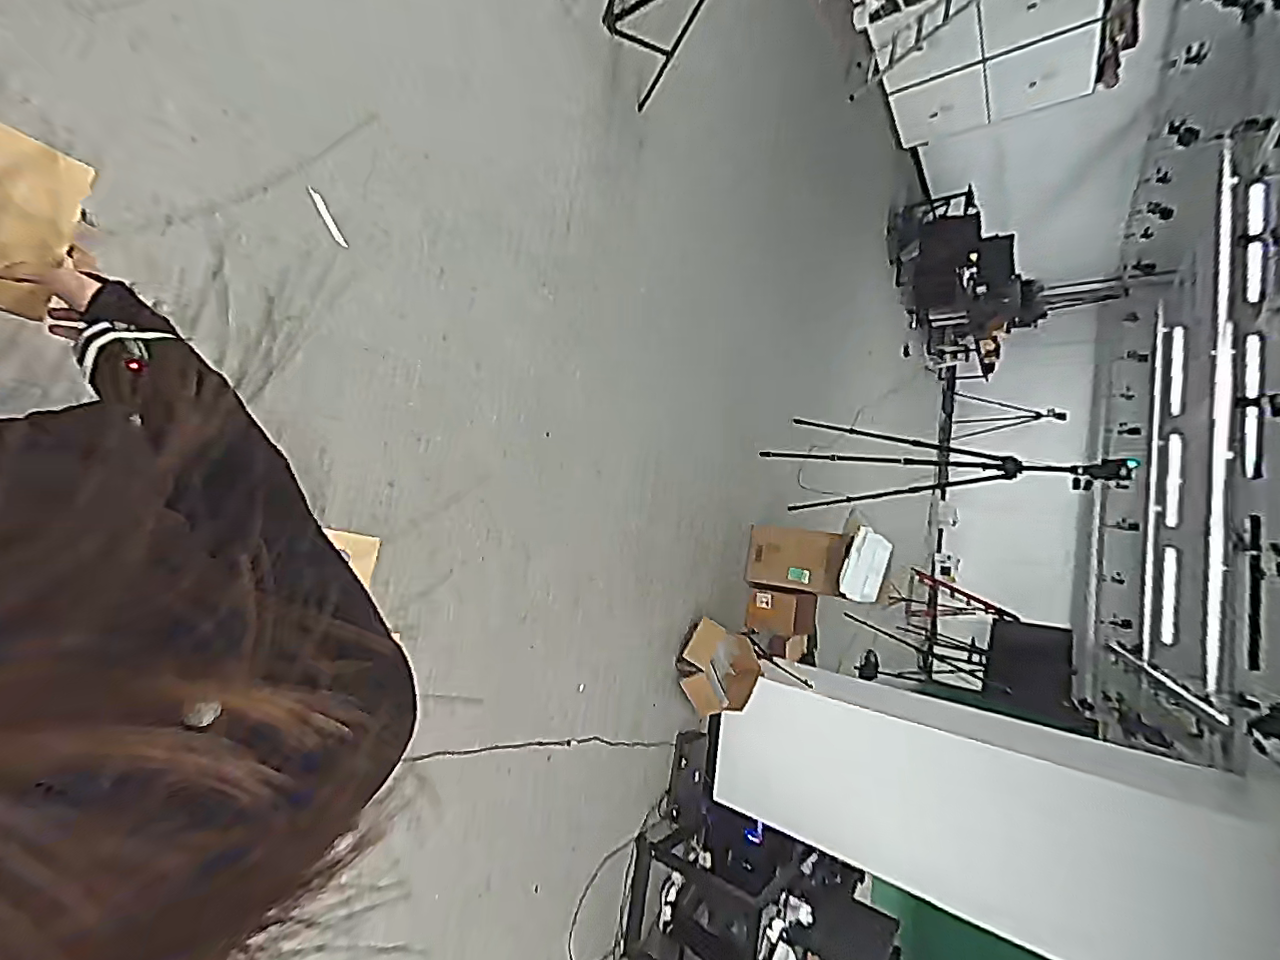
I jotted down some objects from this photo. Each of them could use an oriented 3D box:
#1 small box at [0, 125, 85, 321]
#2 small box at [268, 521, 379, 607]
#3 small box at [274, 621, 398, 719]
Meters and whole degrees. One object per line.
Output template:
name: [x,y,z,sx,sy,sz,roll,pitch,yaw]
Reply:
small box: [-0.712,-0.280,0.550,0.168,0.176,0.179,18,89,-50]
small box: [-0.790,0.208,1.344,0.168,0.176,0.179,25,71,-51]
small box: [-0.688,0.419,1.226,0.179,0.176,0.168,16,79,-53]
